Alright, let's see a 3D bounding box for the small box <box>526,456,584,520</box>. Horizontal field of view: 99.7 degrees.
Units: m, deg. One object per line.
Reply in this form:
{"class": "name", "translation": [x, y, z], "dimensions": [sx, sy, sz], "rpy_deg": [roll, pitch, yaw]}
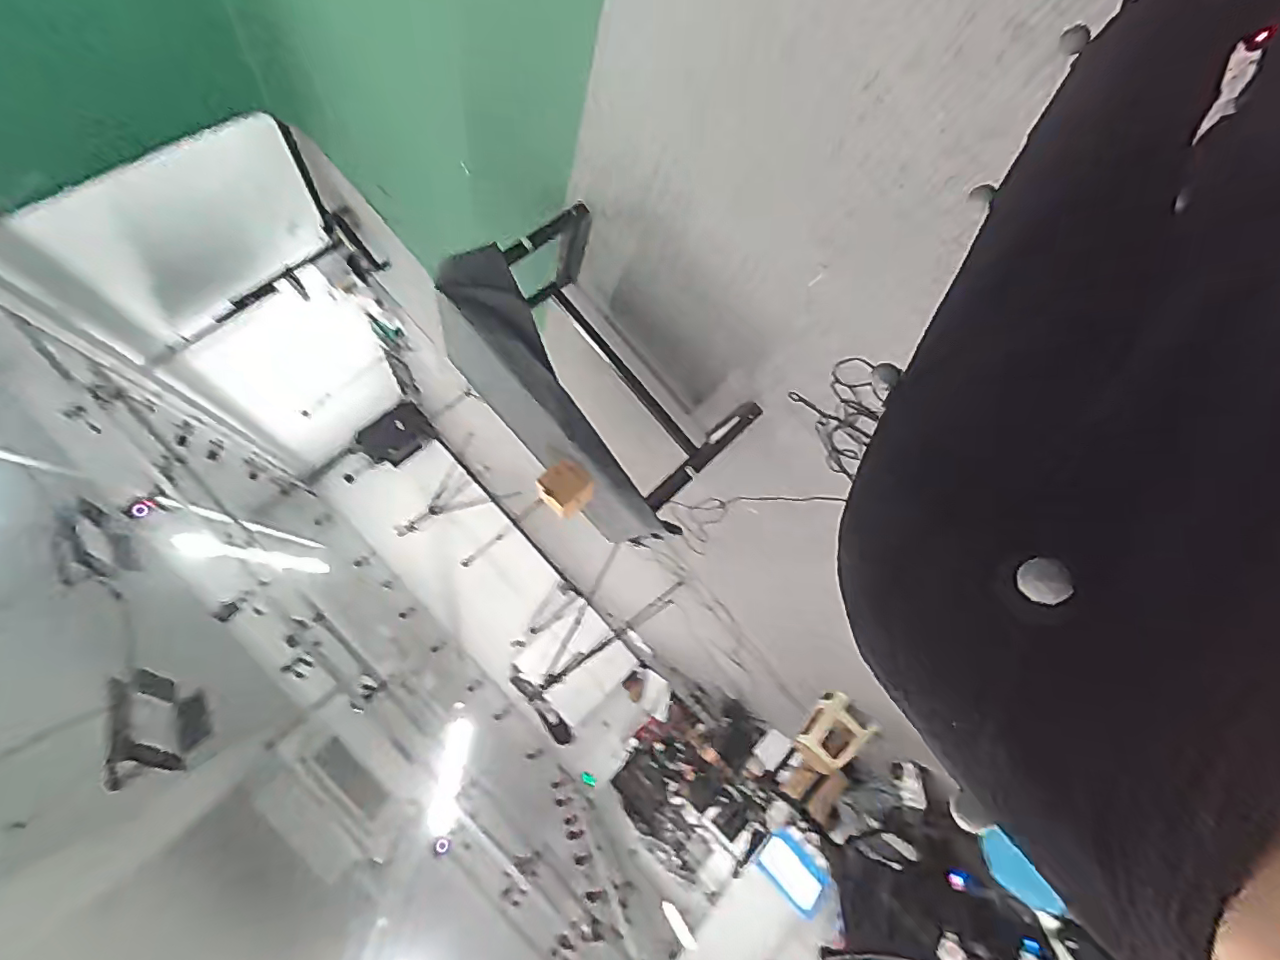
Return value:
{"class": "small box", "translation": [-0.342, 0.030, 2.209], "dimensions": [0.168, 0.176, 0.179], "rpy_deg": [45, 161, 13]}
